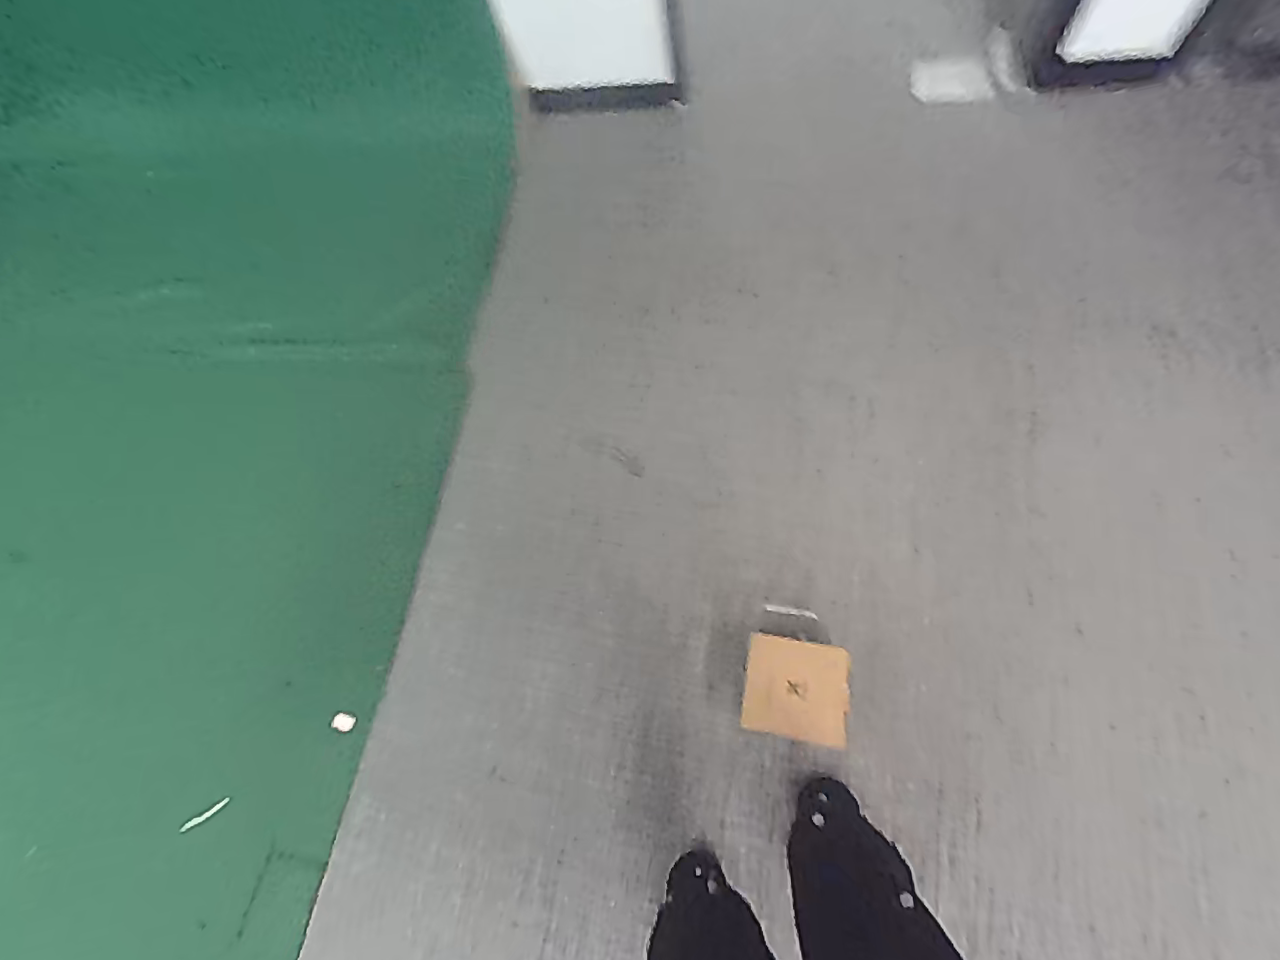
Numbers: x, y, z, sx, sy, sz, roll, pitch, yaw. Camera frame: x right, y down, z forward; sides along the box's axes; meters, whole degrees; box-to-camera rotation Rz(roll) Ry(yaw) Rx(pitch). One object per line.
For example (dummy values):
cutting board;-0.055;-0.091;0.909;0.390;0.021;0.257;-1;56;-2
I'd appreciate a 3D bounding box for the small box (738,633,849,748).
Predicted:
small box;0.289;0.394;1.033;0.179;0.176;0.168;7;73;15
